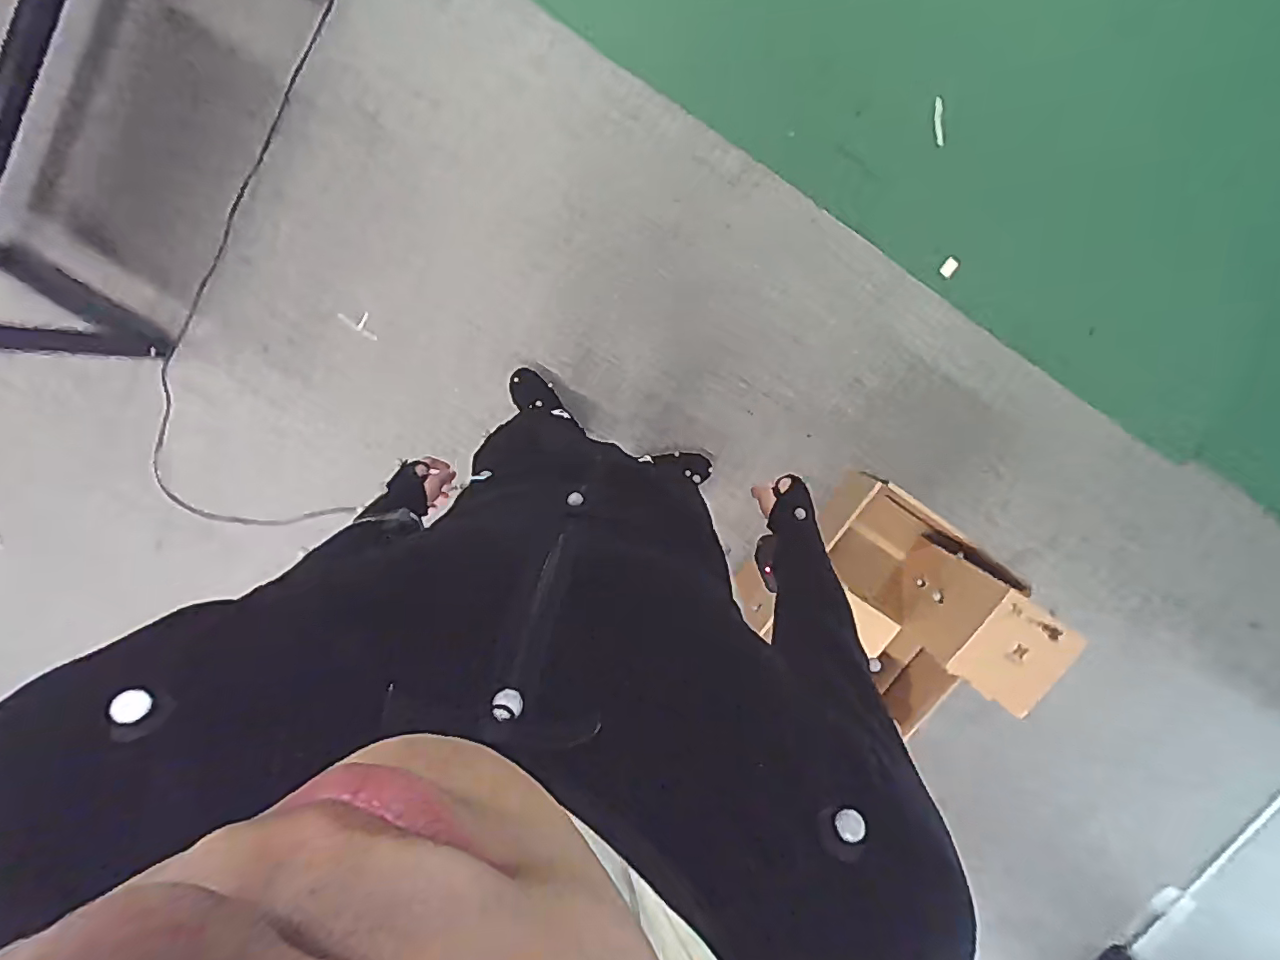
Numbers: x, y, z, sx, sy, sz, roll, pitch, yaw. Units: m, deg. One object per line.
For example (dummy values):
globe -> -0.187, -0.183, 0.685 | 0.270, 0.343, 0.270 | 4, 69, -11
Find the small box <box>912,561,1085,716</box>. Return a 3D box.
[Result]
small box -> 0.632, 0.279, 0.987 | 0.168, 0.176, 0.179 | 35, 100, -3
